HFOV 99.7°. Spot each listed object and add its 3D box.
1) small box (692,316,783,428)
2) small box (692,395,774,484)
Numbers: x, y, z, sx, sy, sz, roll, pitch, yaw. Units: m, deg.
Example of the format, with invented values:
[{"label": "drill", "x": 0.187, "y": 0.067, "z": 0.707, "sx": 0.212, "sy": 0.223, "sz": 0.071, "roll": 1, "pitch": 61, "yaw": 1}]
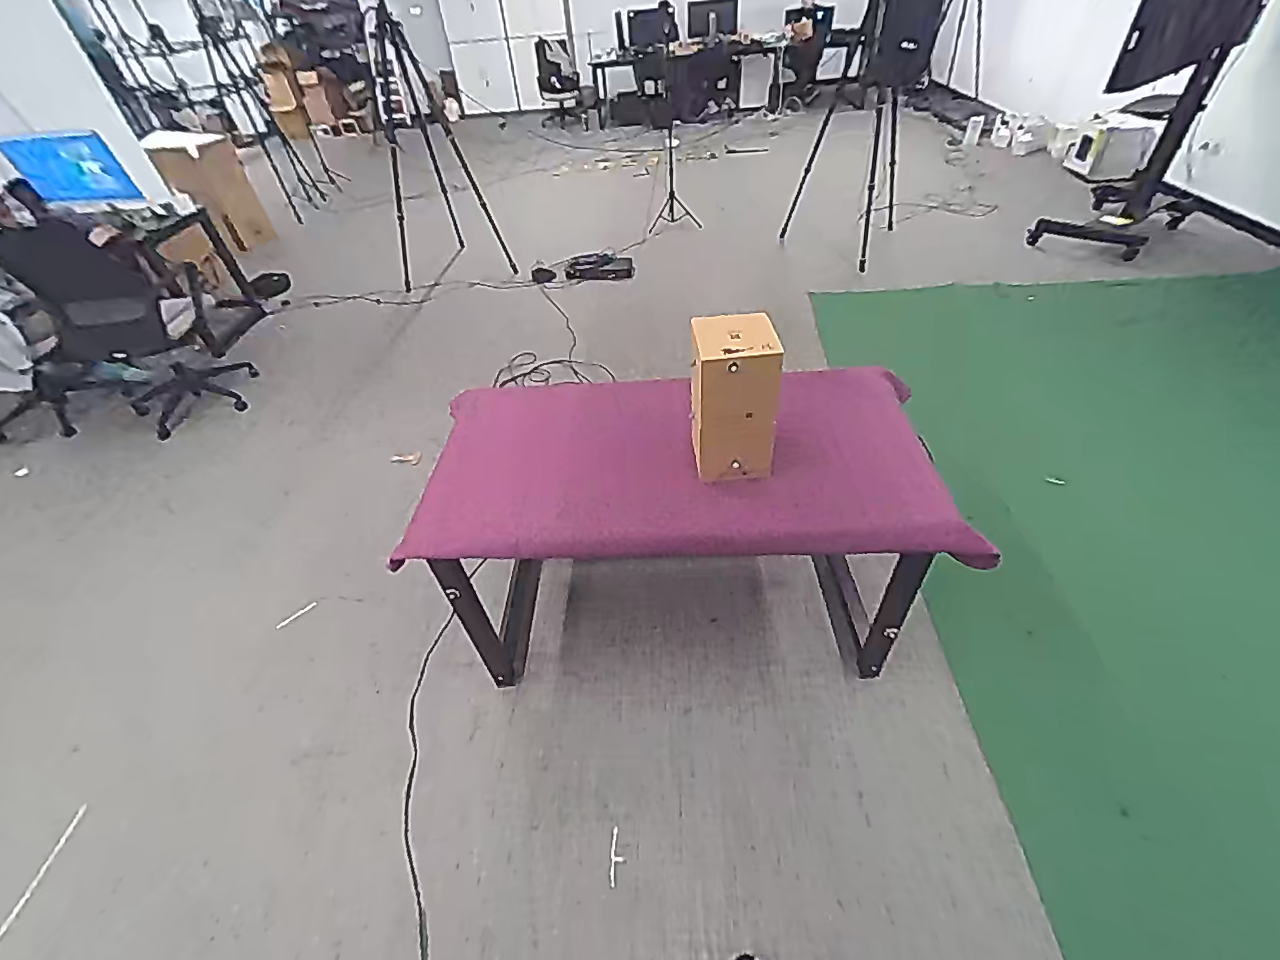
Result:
[{"label": "small box", "x": 0.200, "y": -0.232, "z": 1.163, "sx": 0.168, "sy": 0.176, "sz": 0.179, "roll": -5, "pitch": 42, "yaw": 1}, {"label": "small box", "x": 0.211, "y": -0.111, "z": 1.275, "sx": 0.168, "sy": 0.176, "sz": 0.179, "roll": -4, "pitch": 43, "yaw": 2}]
